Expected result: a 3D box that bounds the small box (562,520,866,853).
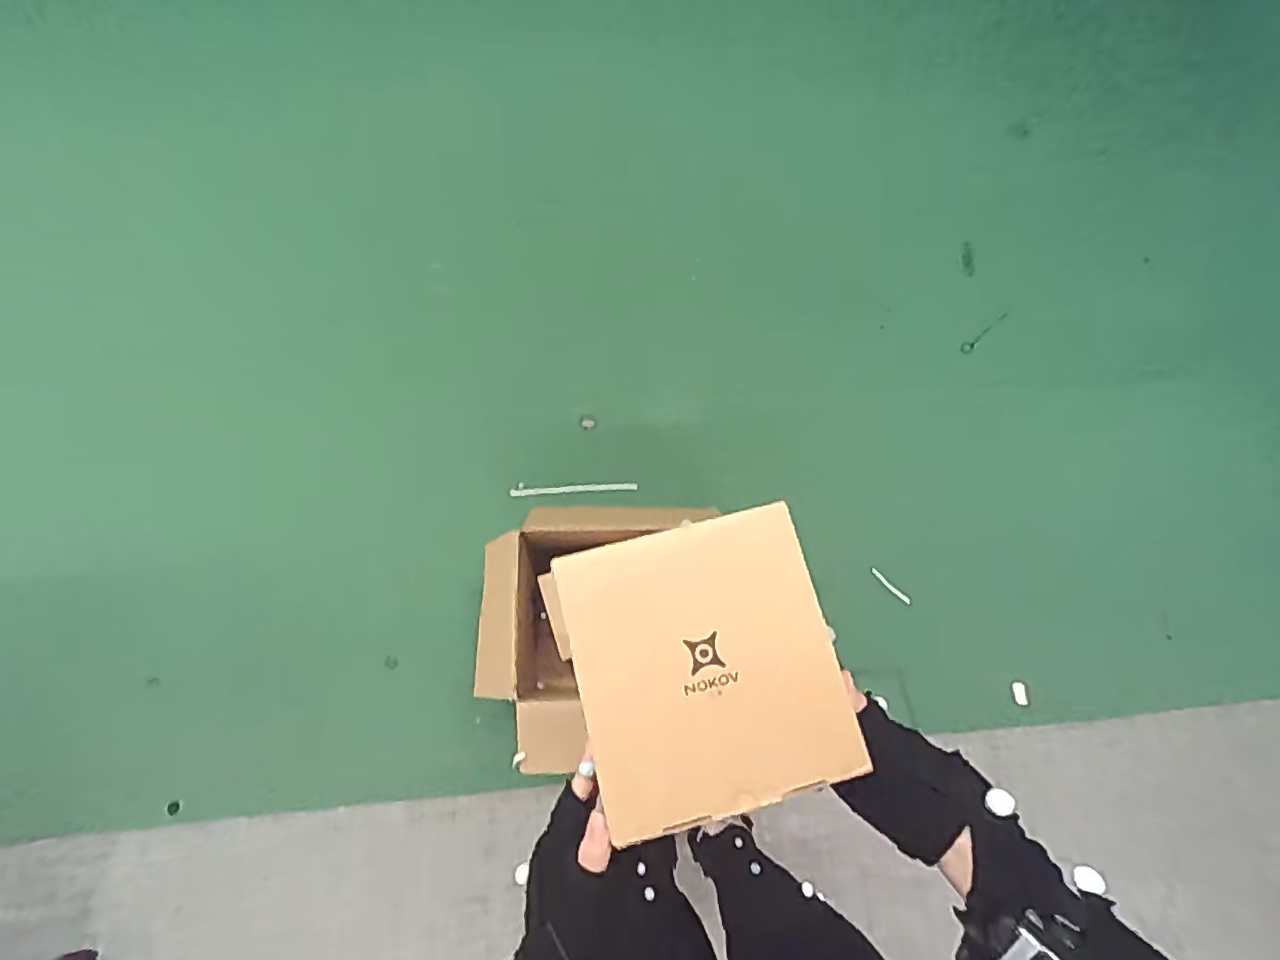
[{"bbox_3d":[0.041,0.147,0.430,0.168,0.176,0.179,-14,77,-5],"label":"small box"}]
